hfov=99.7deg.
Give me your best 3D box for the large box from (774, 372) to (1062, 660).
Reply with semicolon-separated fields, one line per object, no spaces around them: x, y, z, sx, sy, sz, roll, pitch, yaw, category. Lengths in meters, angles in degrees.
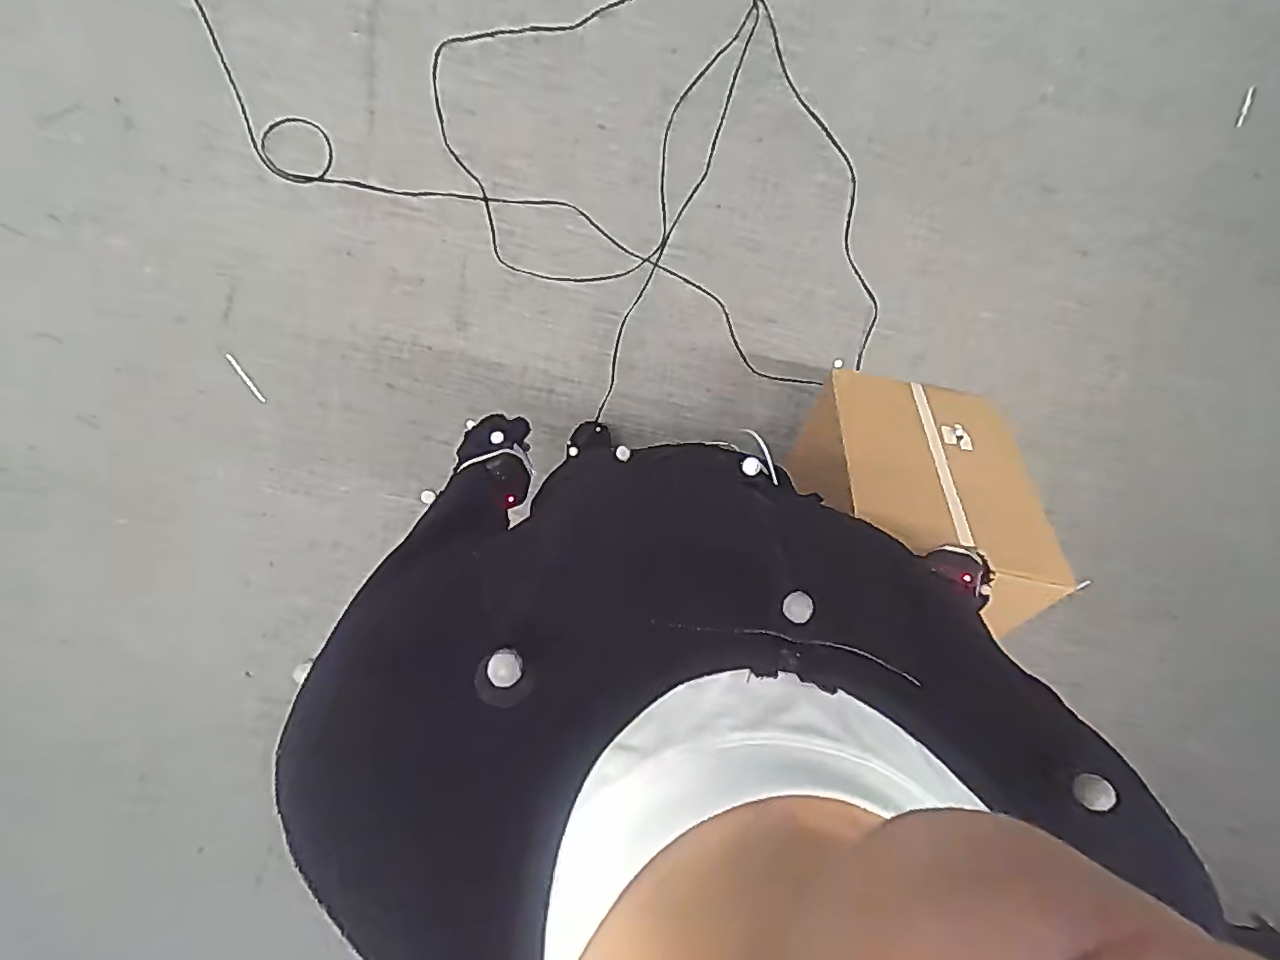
0.452;0.066;1.002;0.320;0.408;0.320;12;138;-2;large box
